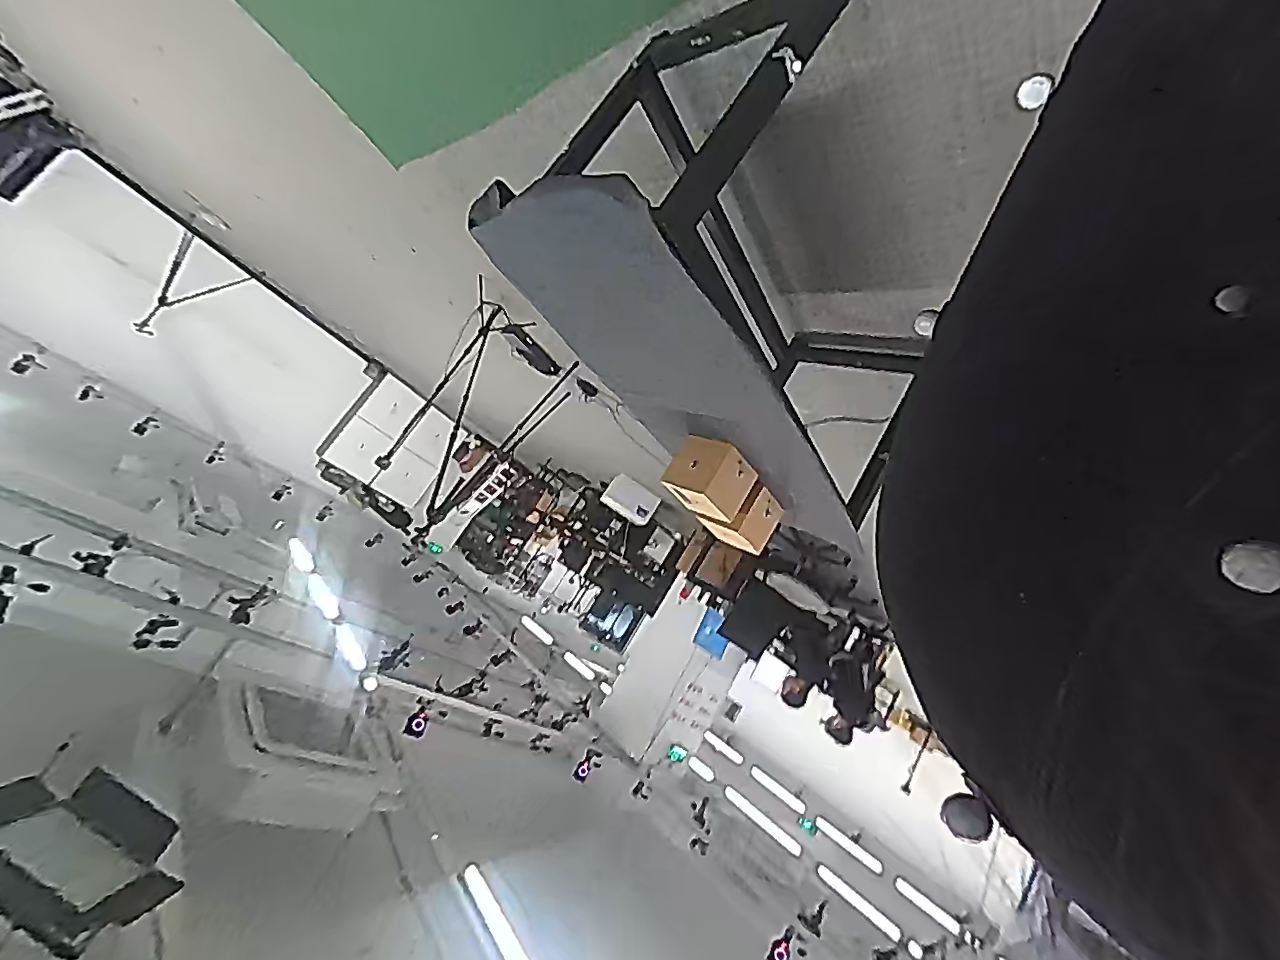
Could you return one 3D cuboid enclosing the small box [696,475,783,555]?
[{"bbox_3d":[0.315,0.104,1.693,0.179,0.176,0.168,20,162,46],"label":"small box"}]
